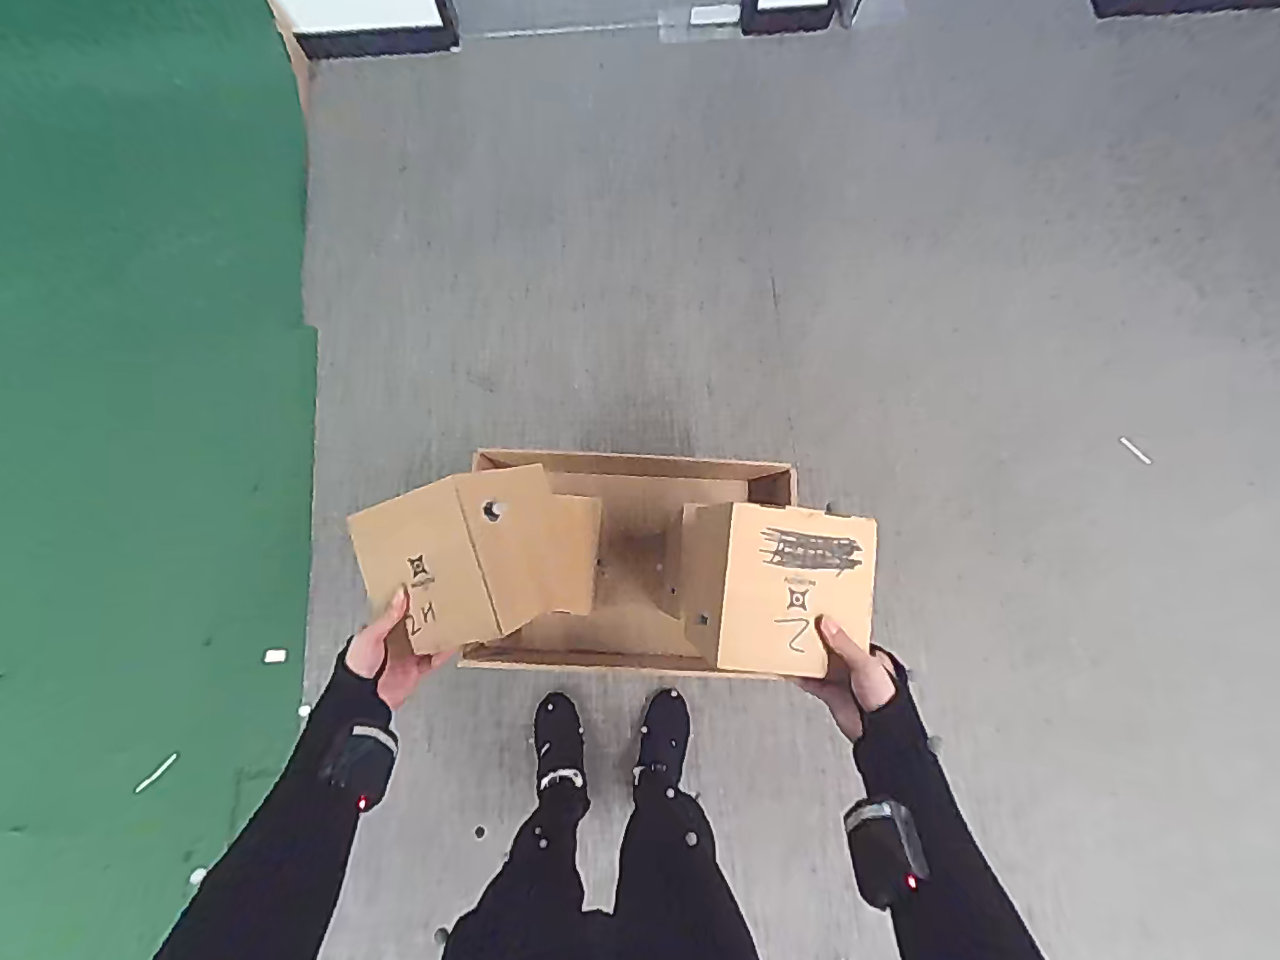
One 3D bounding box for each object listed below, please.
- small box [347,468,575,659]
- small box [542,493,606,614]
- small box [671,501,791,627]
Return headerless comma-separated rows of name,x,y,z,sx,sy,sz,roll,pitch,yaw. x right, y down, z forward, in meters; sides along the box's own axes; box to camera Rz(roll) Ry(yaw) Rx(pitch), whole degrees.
small box,-0.206,0.089,0.652,0.168,0.176,0.179,-19,88,25
small box,-0.145,0.122,0.881,0.168,0.176,0.179,4,79,0
small box,0.140,0.139,0.878,0.168,0.176,0.179,4,77,-1
